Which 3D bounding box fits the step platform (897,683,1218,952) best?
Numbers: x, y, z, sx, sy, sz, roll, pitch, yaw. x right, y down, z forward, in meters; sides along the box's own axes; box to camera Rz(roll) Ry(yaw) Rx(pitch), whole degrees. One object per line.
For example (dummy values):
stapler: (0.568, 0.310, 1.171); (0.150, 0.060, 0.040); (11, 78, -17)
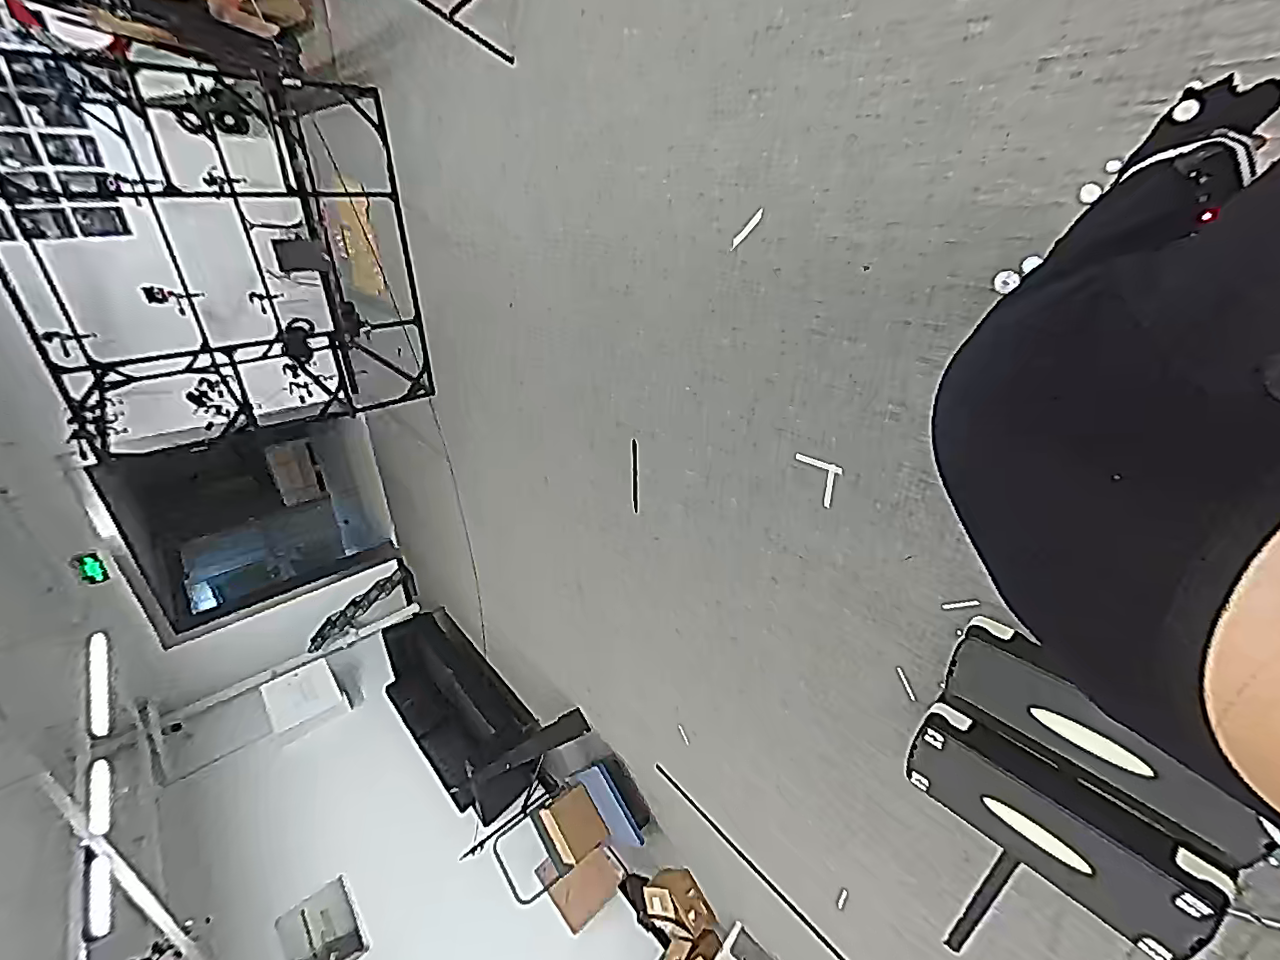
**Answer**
step platform: (1.088, 0.892, 1.498); (0.684, 0.204, 0.286); (28, 129, 43)
